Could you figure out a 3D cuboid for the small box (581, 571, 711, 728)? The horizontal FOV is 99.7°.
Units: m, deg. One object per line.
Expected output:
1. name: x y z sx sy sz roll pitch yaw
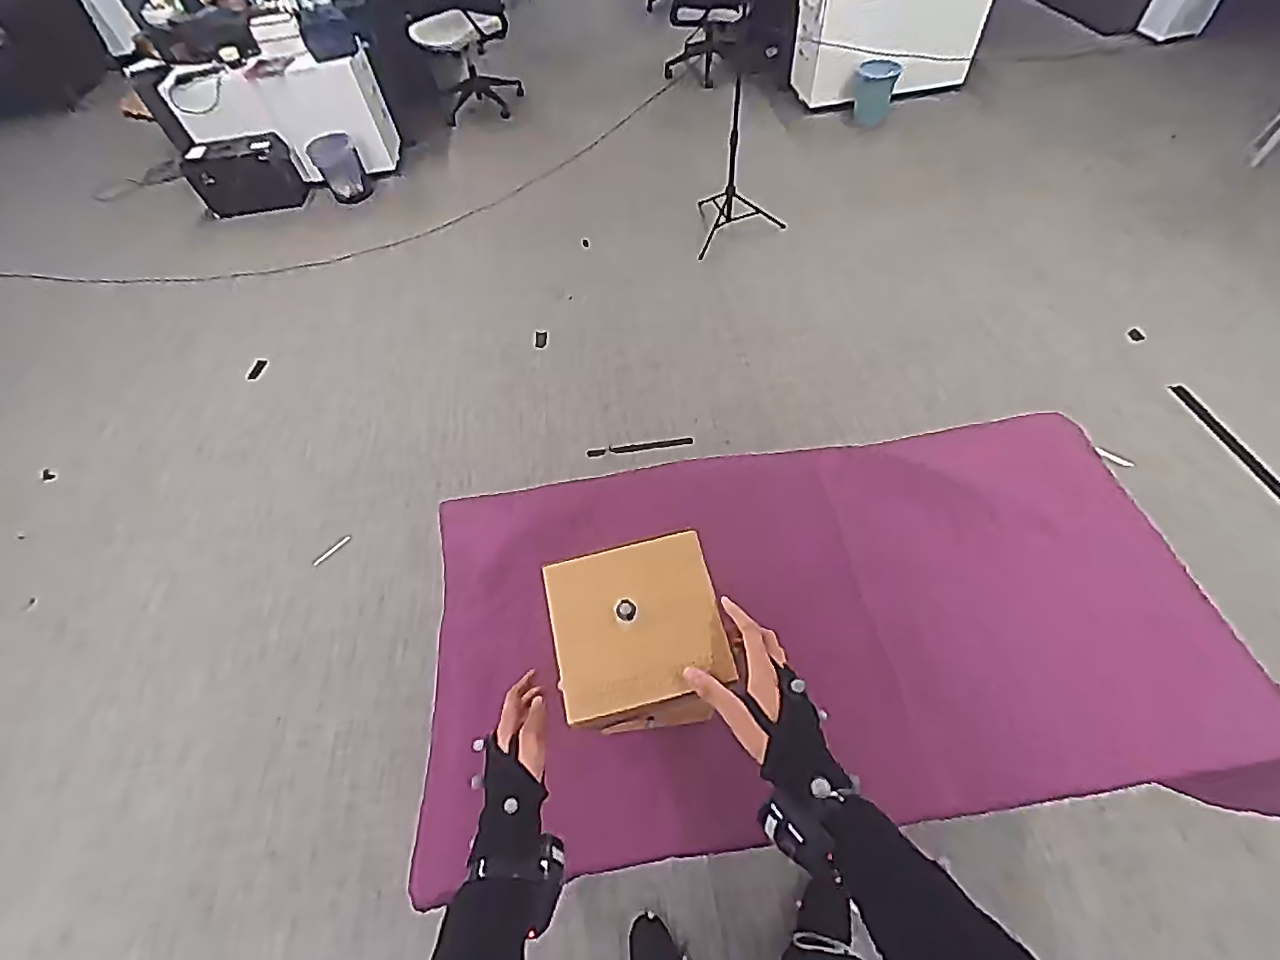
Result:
1. small box: 0.009 0.254 0.789 0.168 0.176 0.179 -6 55 0
